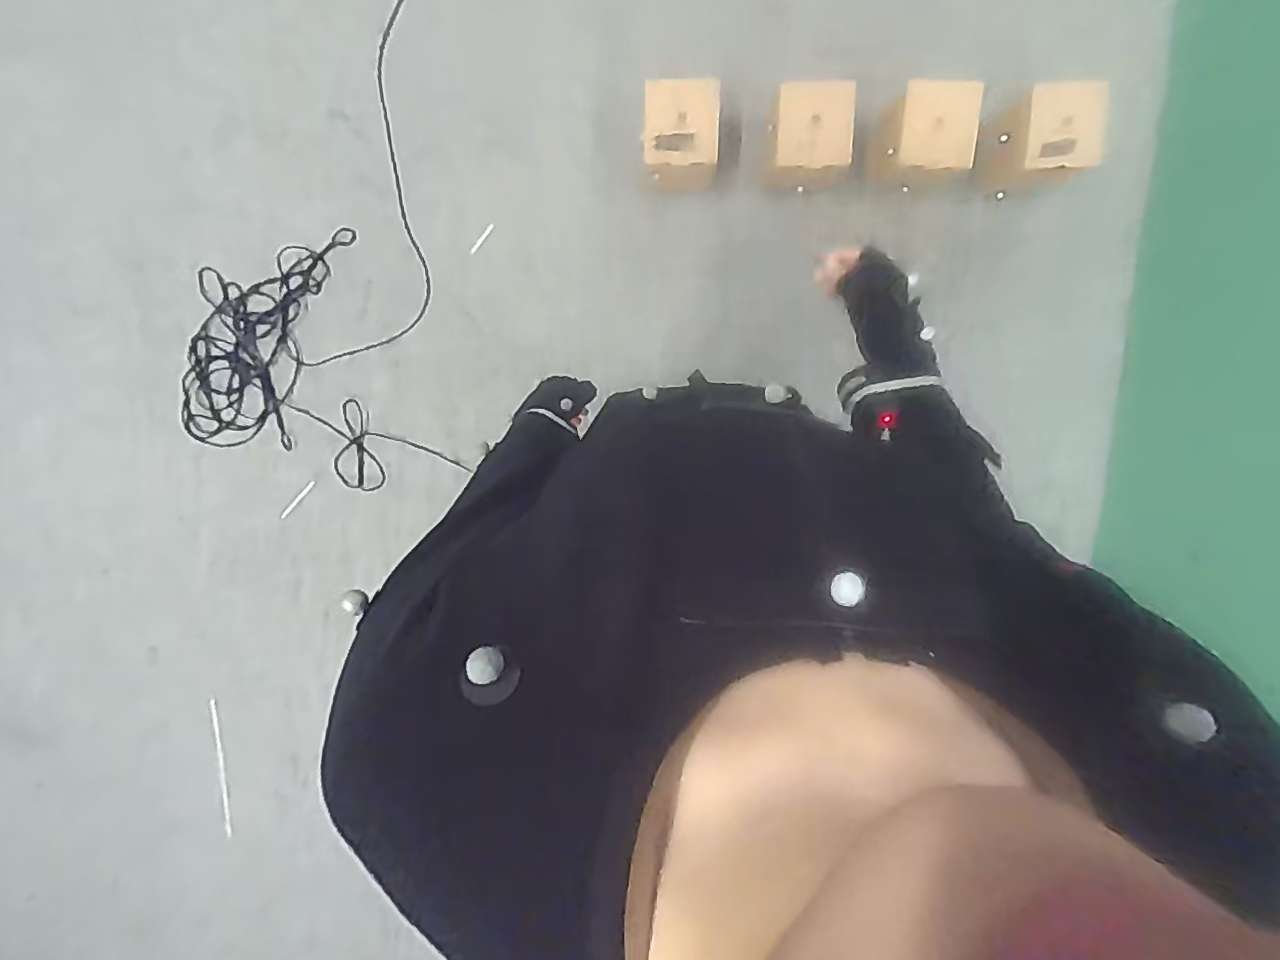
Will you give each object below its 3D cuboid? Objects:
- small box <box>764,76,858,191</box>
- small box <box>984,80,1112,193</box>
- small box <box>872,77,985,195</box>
[{"bbox_3d":[0.389,-0.797,1.257,0.168,0.176,0.179,2,100,3],"label":"small box"},{"bbox_3d":[0.926,-0.778,1.244,0.168,0.176,0.179,0,99,2],"label":"small box"},{"bbox_3d":[0.657,-0.789,1.252,0.168,0.176,0.179,4,100,1],"label":"small box"}]
